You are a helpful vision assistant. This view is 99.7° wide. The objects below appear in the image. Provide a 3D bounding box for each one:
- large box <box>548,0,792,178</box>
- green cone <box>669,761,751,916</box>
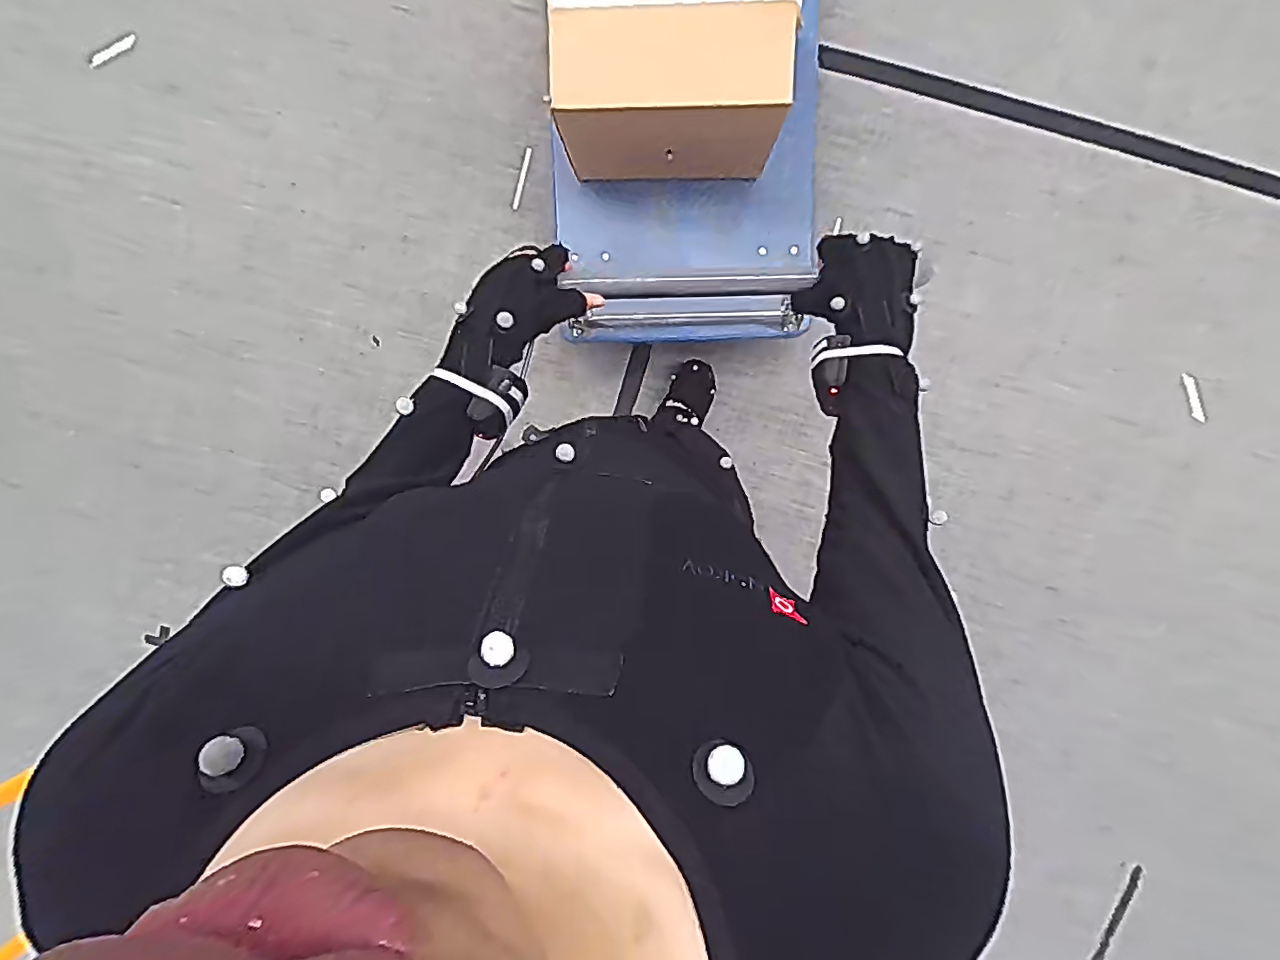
[{"bbox_3d":[0.056,-0.796,1.023,0.408,0.320,0.320,0,99,3],"label":"large box"},{"bbox_3d":[0.203,0.967,1.428,0.202,0.368,0.200,20,99,-2],"label":"green cone"}]
